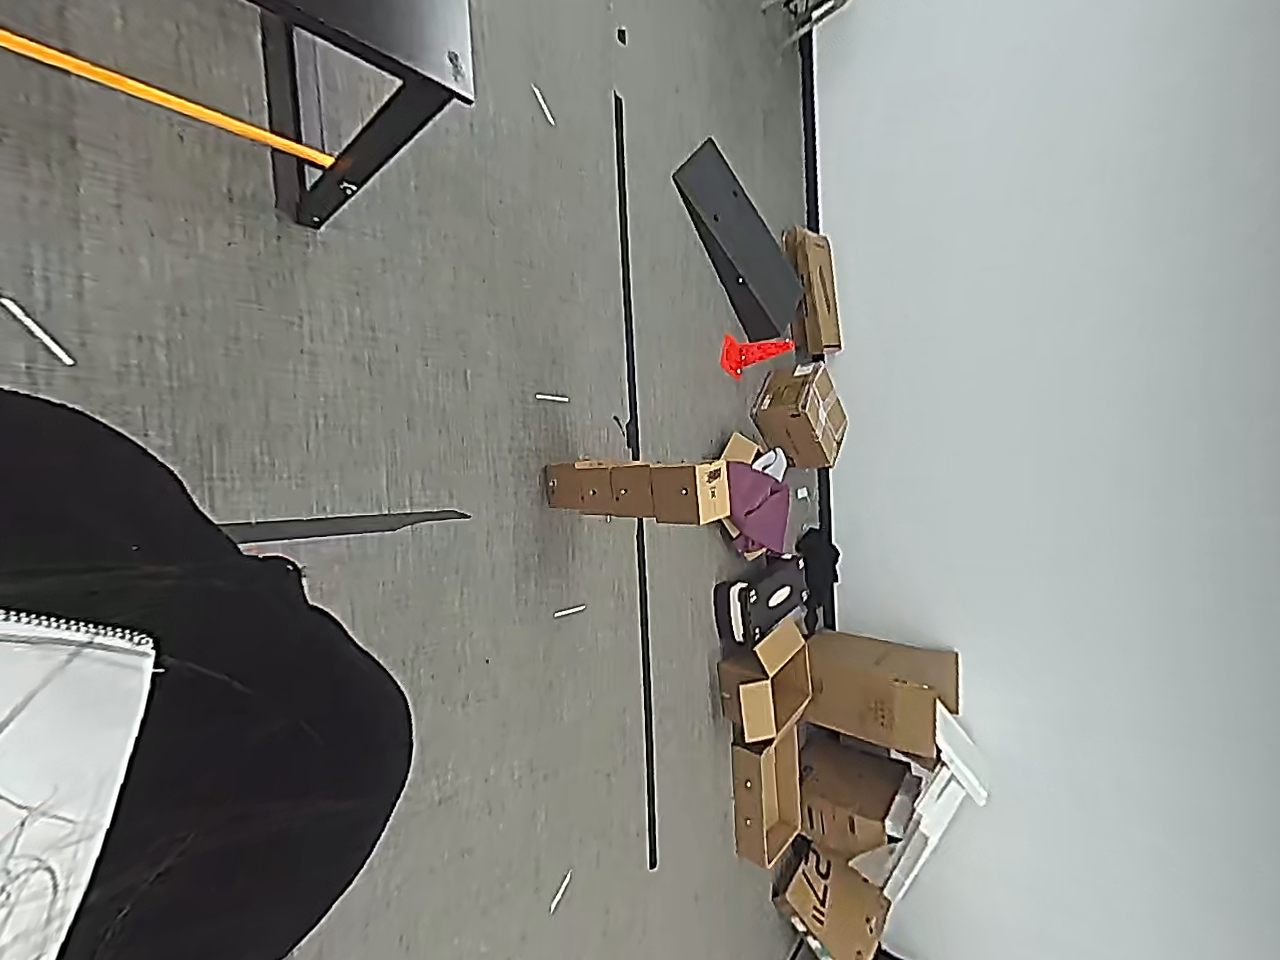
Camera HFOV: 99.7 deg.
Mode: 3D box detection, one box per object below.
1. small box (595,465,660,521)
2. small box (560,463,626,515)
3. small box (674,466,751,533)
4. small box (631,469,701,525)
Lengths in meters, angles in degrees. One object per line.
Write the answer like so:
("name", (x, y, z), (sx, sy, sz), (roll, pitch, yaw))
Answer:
("small box", (-0.039, 0.045, 1.843), (0.179, 0.176, 0.168), (-14, 99, -48))
("small box", (-0.163, 0.030, 1.950), (0.179, 0.176, 0.168), (-13, 98, -47))
("small box", (0.215, 0.056, 1.631), (0.168, 0.176, 0.179), (-12, 99, -49))
("small box", (0.090, 0.051, 1.738), (0.179, 0.176, 0.168), (-7, 93, -49))
